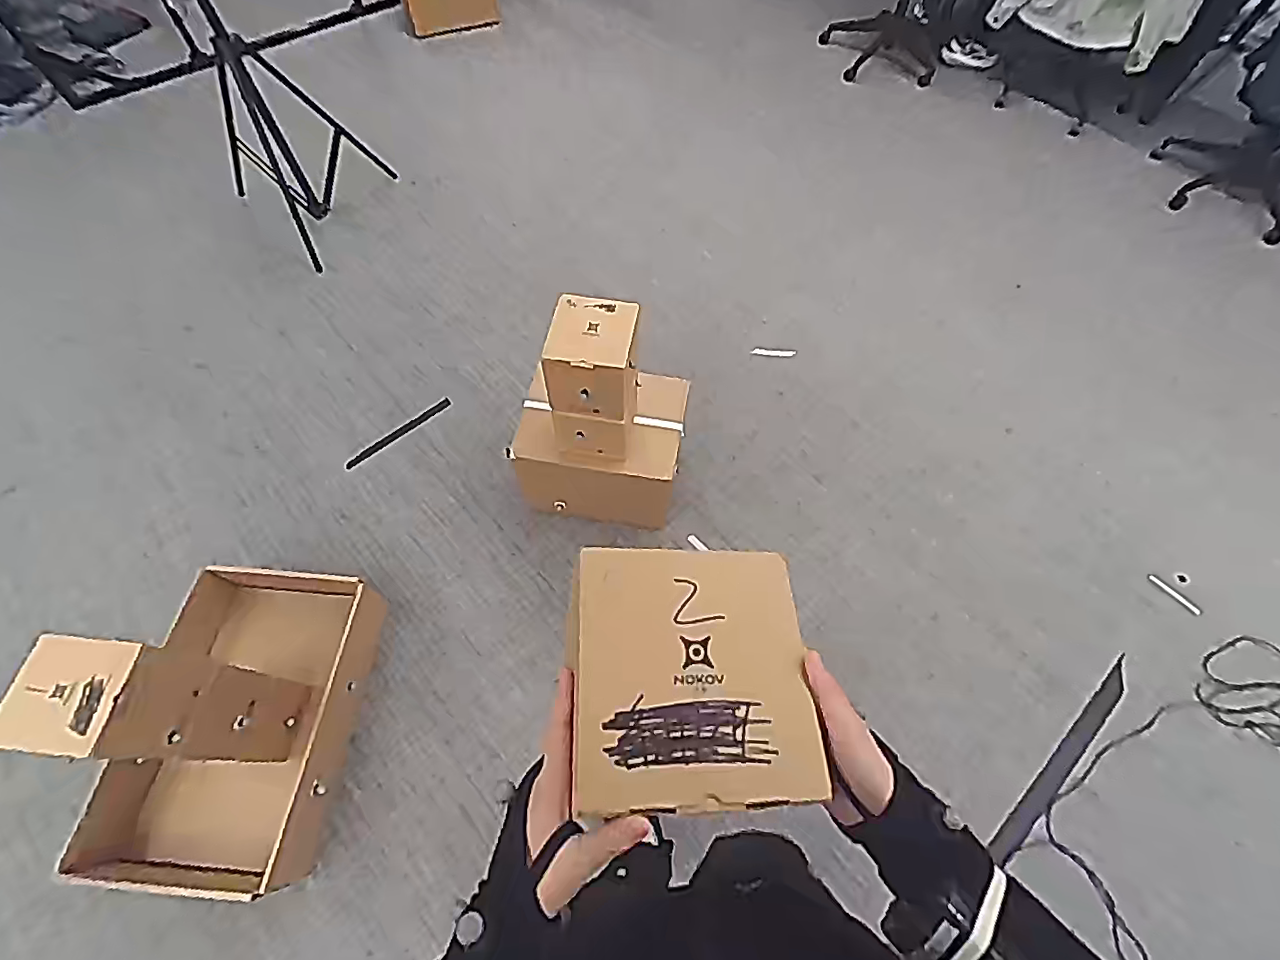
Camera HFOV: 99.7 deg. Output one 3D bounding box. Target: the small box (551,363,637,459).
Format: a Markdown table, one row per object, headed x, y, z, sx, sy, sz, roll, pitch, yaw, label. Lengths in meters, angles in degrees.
| x | y | z | sx | sy | sz | roll | pitch | yaw | label |
| --- | --- | --- | --- | --- | --- | --- | --- | --- | --- |
| -0.100 | -0.169 | 1.273 | 0.168 | 0.176 | 0.179 | 9 | 62 | 3 | small box |

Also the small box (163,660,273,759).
| x | y | z | sx | sy | sz | roll | pitch | yaw | label |
| --- | --- | --- | --- | --- | --- | --- | --- | --- | --- |
| -0.867 | 0.437 | 1.043 | 0.179 | 0.176 | 0.168 | 6 | 63 | 1 | small box |

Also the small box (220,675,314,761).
| x | y | z | sx | sy | sz | roll | pitch | yaw | label |
| --- | --- | --- | --- | --- | --- | --- | --- | --- | --- |
| -0.868 | 0.514 | 1.185 | 0.179 | 0.176 | 0.168 | 7 | 63 | 3 | small box |

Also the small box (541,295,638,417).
| x | y | z | sx | sy | sz | roll | pitch | yaw | label |
| --- | --- | --- | --- | --- | --- | --- | --- | --- | --- |
| -0.097 | -0.254 | 1.132 | 0.168 | 0.176 | 0.179 | 9 | 63 | 3 | small box |

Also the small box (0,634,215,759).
| x | y | z | sx | sy | sz | roll | pitch | yaw | label |
| --- | --- | --- | --- | --- | --- | --- | --- | --- | --- |
| -0.869 | 0.362 | 0.897 | 0.179 | 0.176 | 0.168 | 4 | 63 | 3 | small box |
